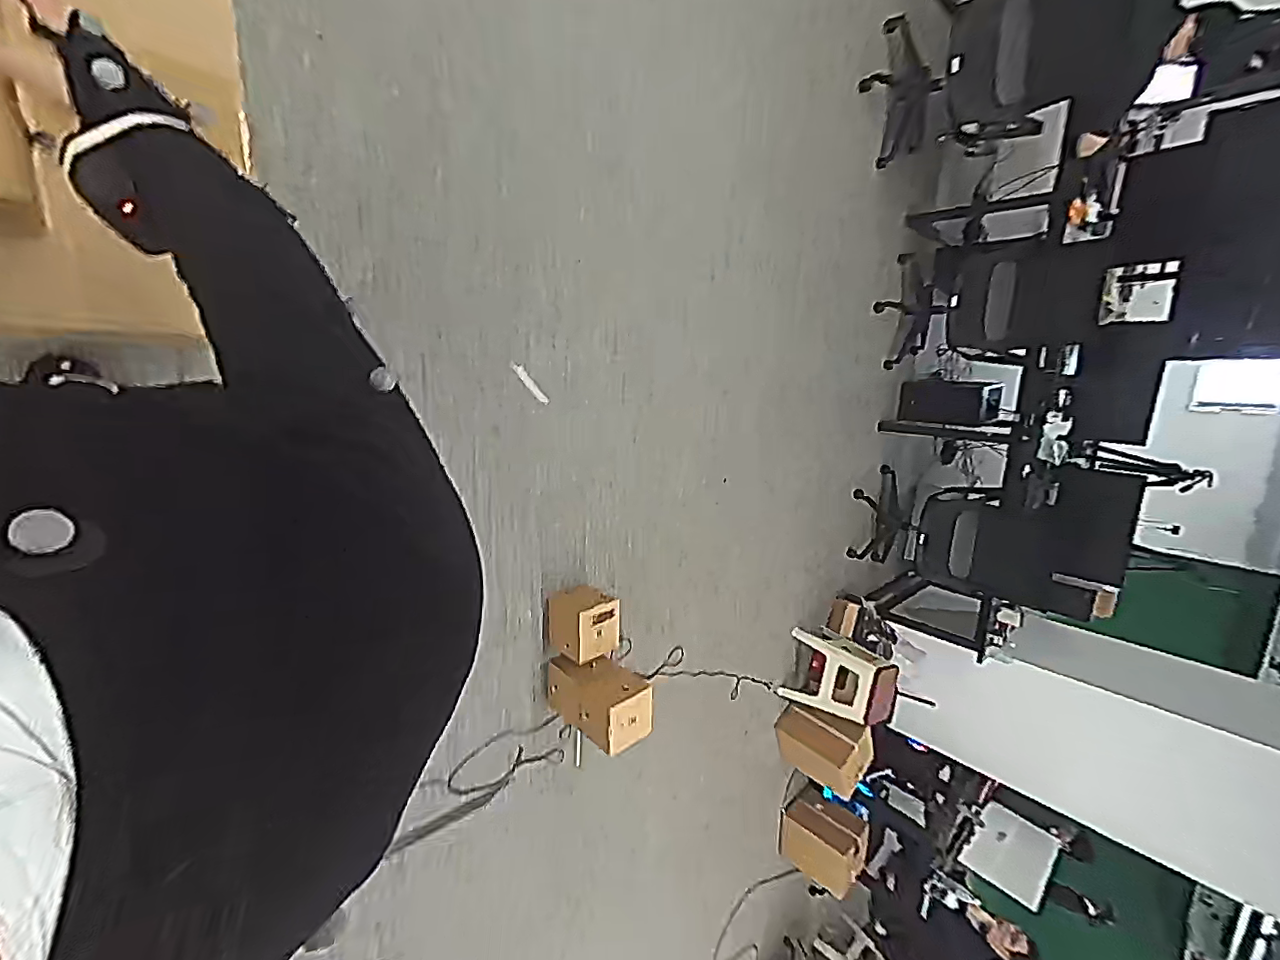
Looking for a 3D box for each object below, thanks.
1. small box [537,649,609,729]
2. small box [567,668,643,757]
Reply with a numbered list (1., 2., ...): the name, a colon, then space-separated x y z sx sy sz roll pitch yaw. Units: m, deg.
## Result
1. small box: -0.224 0.692 1.816 0.179 0.176 0.168 -8 105 -42
2. small box: -0.111 0.721 1.700 0.179 0.176 0.168 -10 106 -42
